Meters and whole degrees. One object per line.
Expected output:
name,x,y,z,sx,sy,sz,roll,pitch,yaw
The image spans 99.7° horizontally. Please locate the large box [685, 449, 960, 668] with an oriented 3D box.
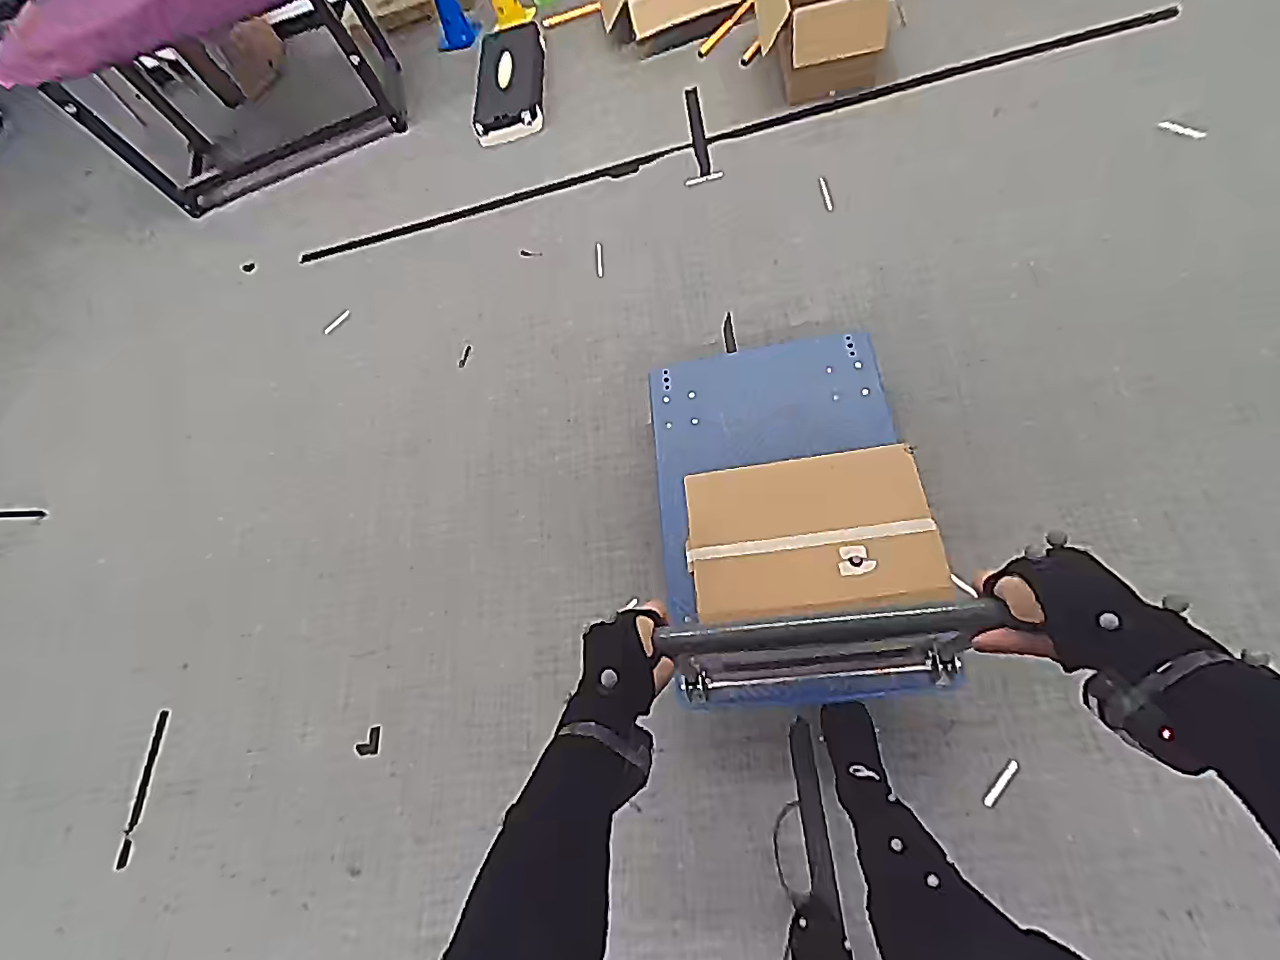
large box,0.317,0.172,1.051,0.408,0.320,0.320,-8,65,9
